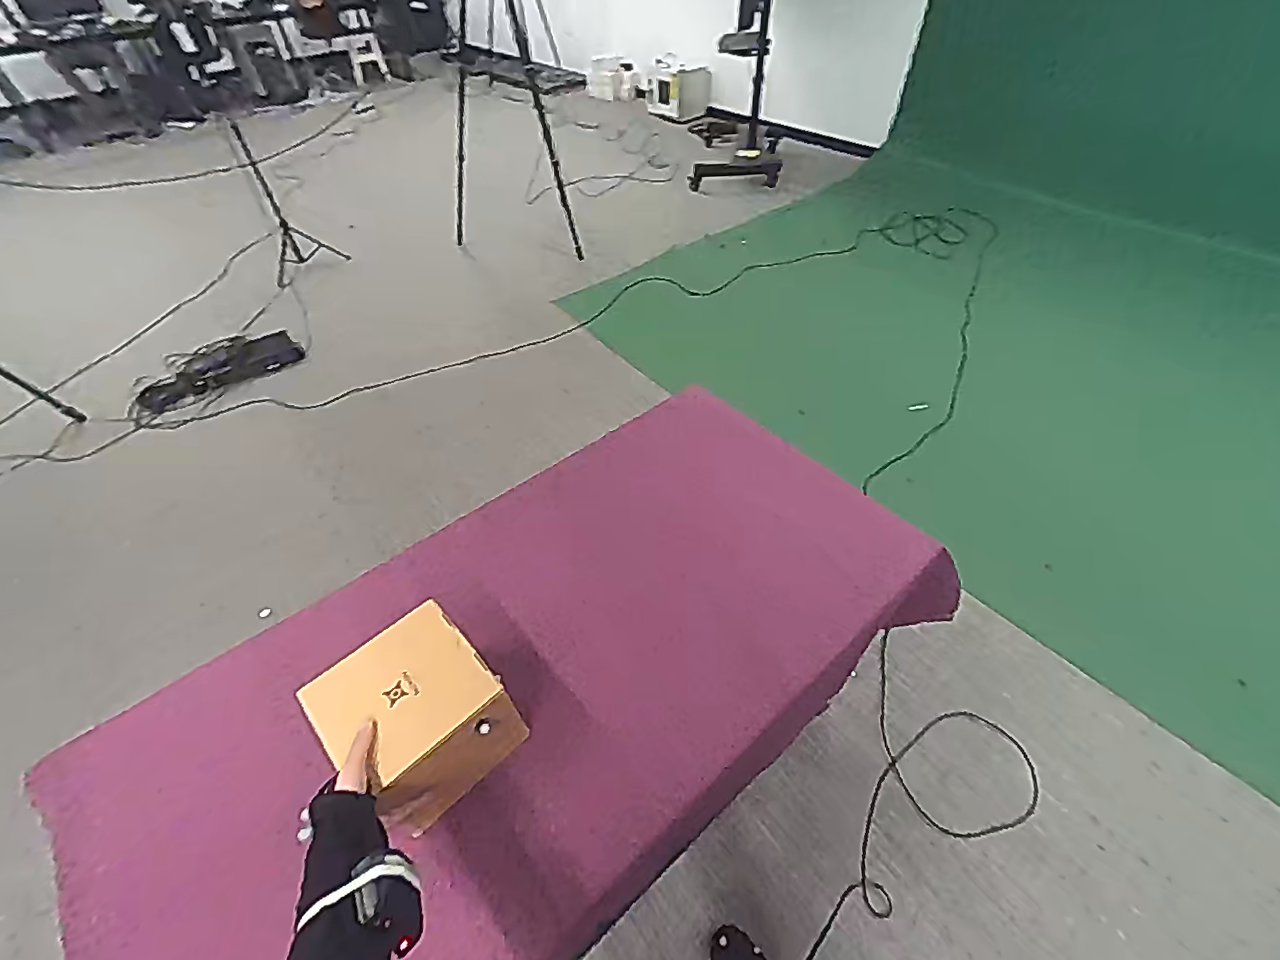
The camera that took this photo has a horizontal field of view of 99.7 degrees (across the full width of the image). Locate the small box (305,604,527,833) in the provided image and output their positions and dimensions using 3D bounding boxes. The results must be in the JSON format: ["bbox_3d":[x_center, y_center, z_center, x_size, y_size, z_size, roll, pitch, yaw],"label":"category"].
[{"bbox_3d":[-0.267,0.300,0.679,0.179,0.176,0.168,-37,56,-27],"label":"small box"}]
